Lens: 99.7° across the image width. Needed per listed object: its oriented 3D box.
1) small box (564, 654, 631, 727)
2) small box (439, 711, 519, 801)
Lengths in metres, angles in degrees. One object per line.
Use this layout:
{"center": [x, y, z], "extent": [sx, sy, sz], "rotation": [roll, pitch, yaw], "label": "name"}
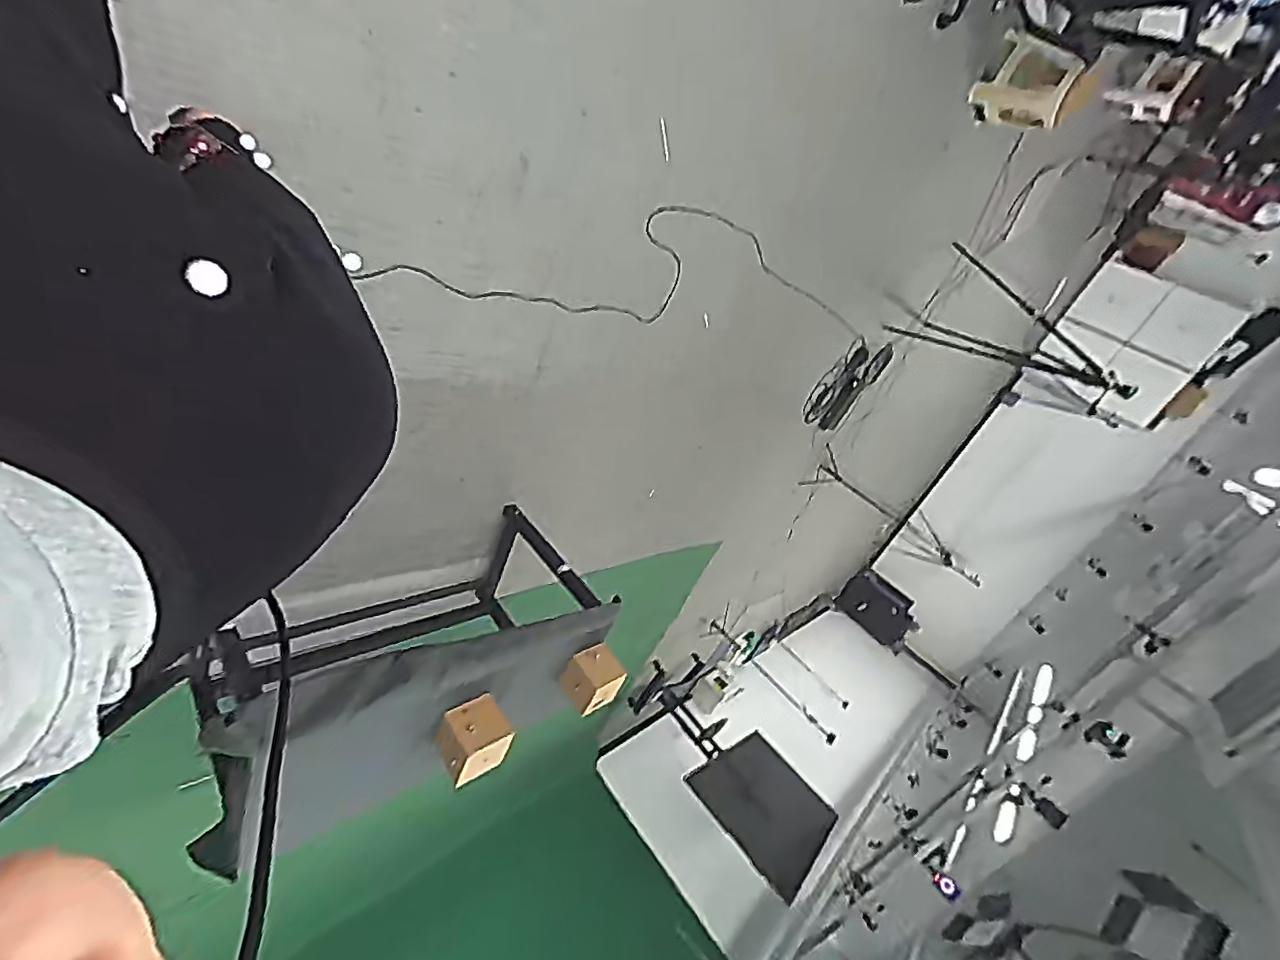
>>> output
{"center": [-0.171, 0.814, 2.104], "extent": [0.168, 0.176, 0.179], "rotation": [-8, 131, -48], "label": "small box"}
{"center": [-0.519, 0.867, 1.724], "extent": [0.168, 0.176, 0.179], "rotation": [-8, 132, -46], "label": "small box"}
